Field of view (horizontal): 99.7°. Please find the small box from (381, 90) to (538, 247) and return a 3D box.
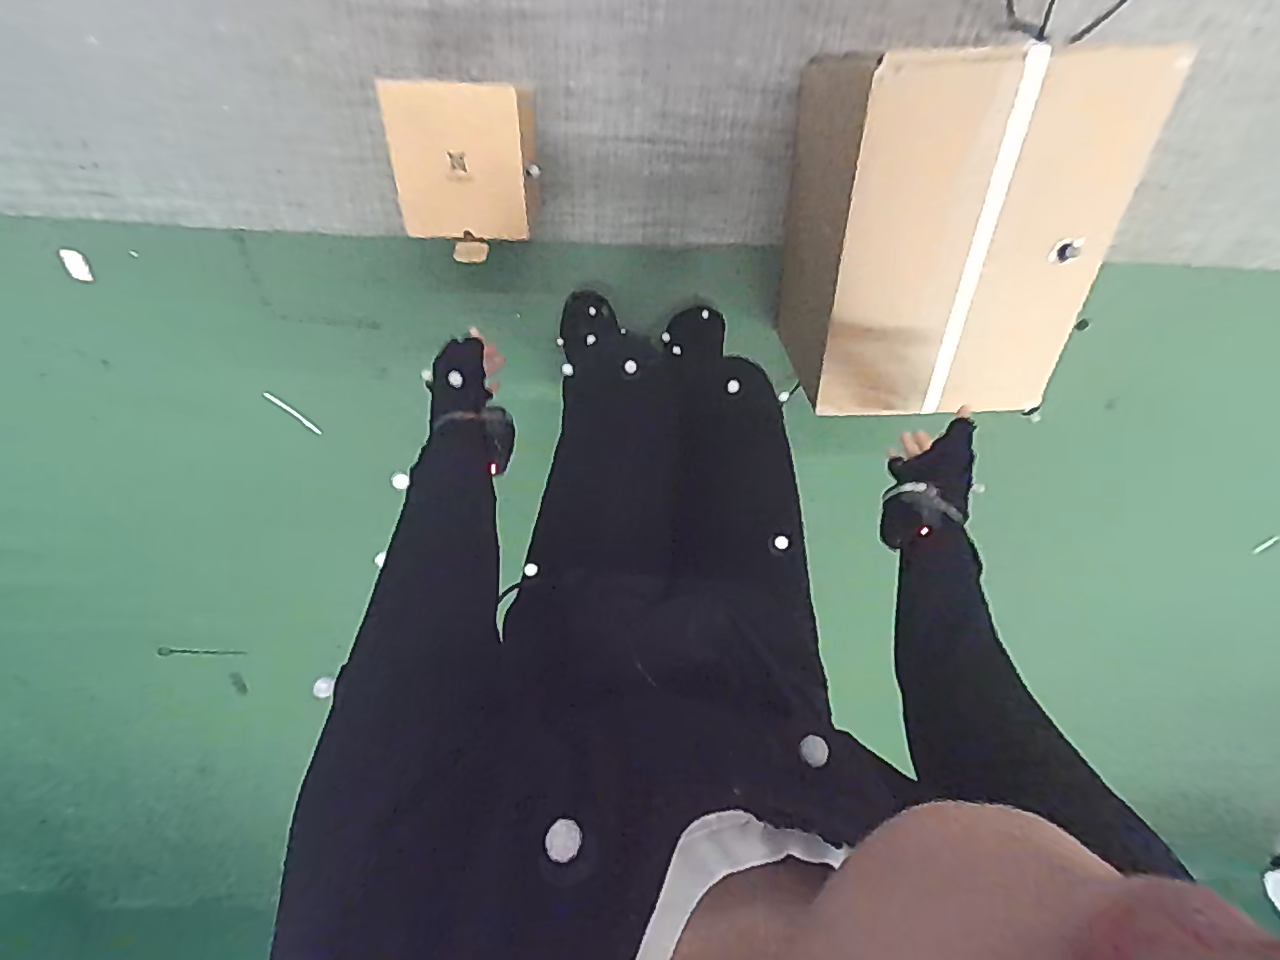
[{"bbox_3d":[-0.240,-0.446,0.769,0.168,0.176,0.179,0,127,-3],"label":"small box"}]
